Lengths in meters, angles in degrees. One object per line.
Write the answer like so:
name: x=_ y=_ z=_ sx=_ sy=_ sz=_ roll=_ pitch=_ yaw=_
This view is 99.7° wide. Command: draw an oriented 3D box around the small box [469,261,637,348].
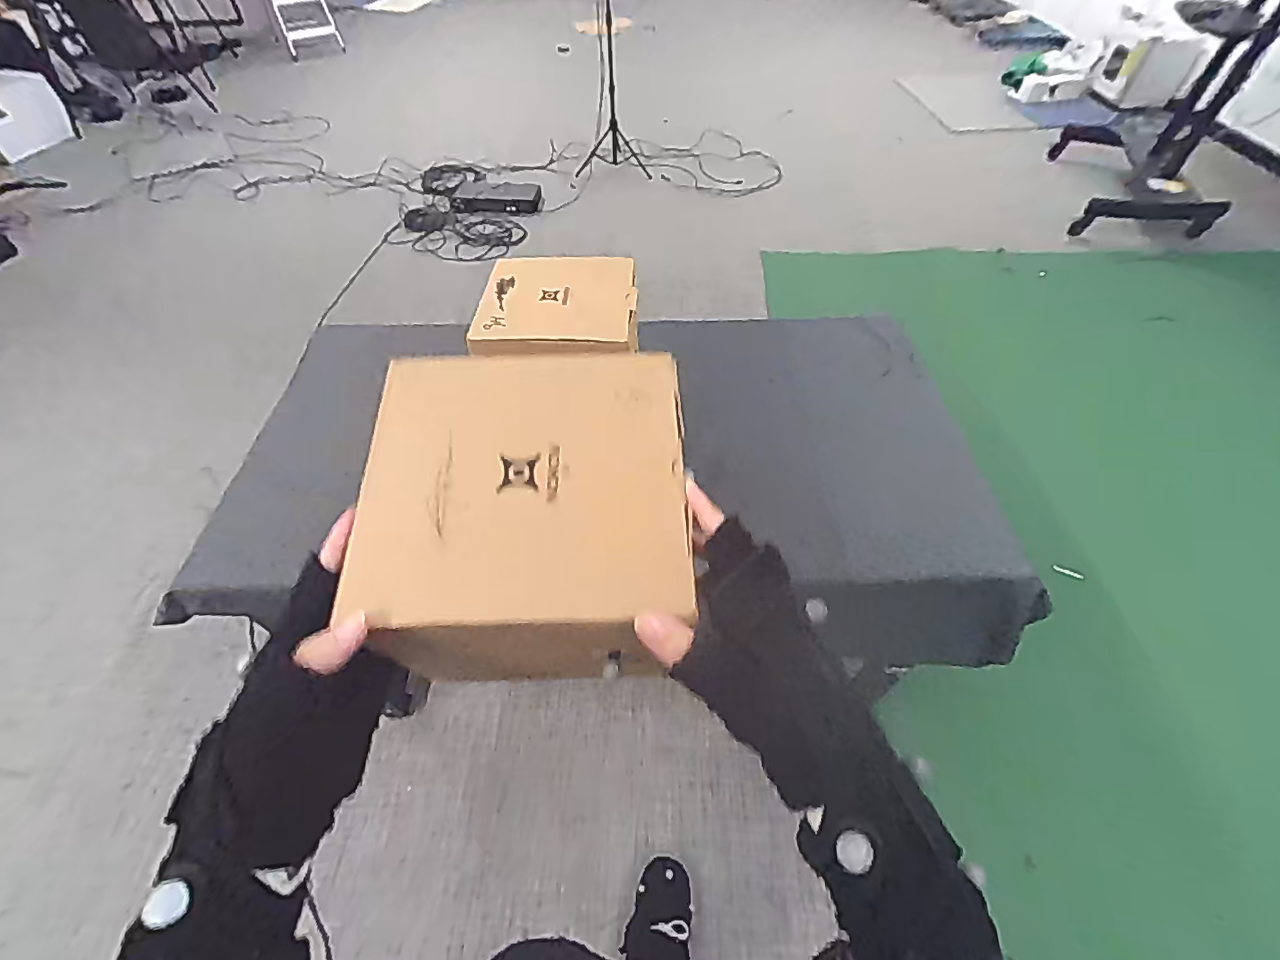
small box: x=-0.095 y=-0.155 z=0.688 sx=0.179 sy=0.176 sz=0.168 roll=2 pitch=51 yaw=1

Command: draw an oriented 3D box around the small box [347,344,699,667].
small box: x=-0.062 y=0.027 z=0.373 sx=0.179 sy=0.176 sz=0.168 roll=-3 pitch=61 yaw=-2
